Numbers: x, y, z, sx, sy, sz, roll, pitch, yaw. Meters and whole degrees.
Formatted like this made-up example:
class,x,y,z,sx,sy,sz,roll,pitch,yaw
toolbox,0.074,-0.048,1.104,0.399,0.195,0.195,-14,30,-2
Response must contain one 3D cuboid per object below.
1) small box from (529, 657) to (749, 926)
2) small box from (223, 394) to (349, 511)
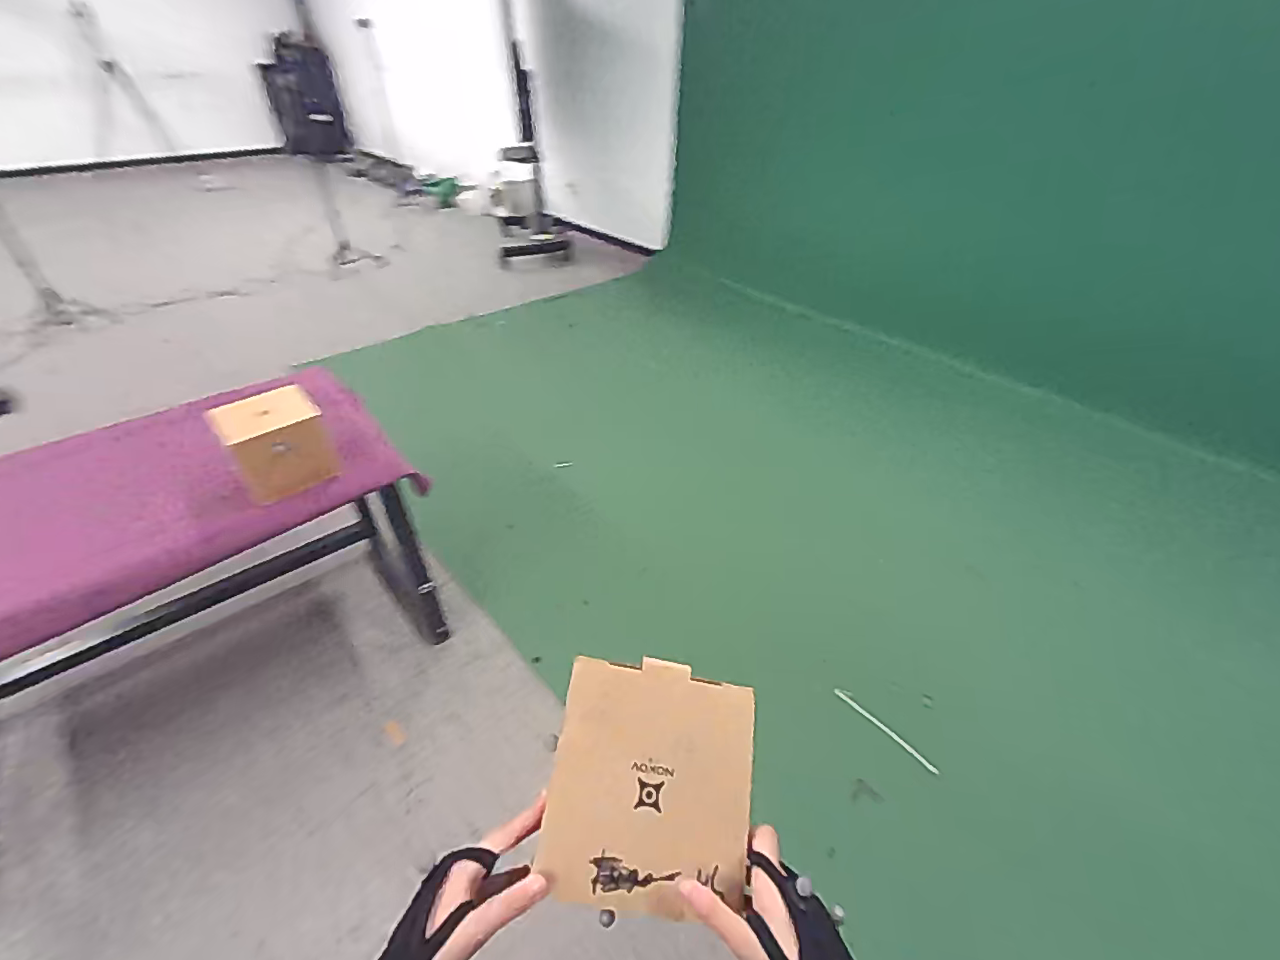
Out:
class,x,y,z,sx,sy,sz,roll,pitch,yaw
small box,-0.002,0.285,0.517,0.168,0.176,0.179,10,62,-2
small box,-0.789,-0.064,1.224,0.179,0.176,0.168,-32,50,-30
